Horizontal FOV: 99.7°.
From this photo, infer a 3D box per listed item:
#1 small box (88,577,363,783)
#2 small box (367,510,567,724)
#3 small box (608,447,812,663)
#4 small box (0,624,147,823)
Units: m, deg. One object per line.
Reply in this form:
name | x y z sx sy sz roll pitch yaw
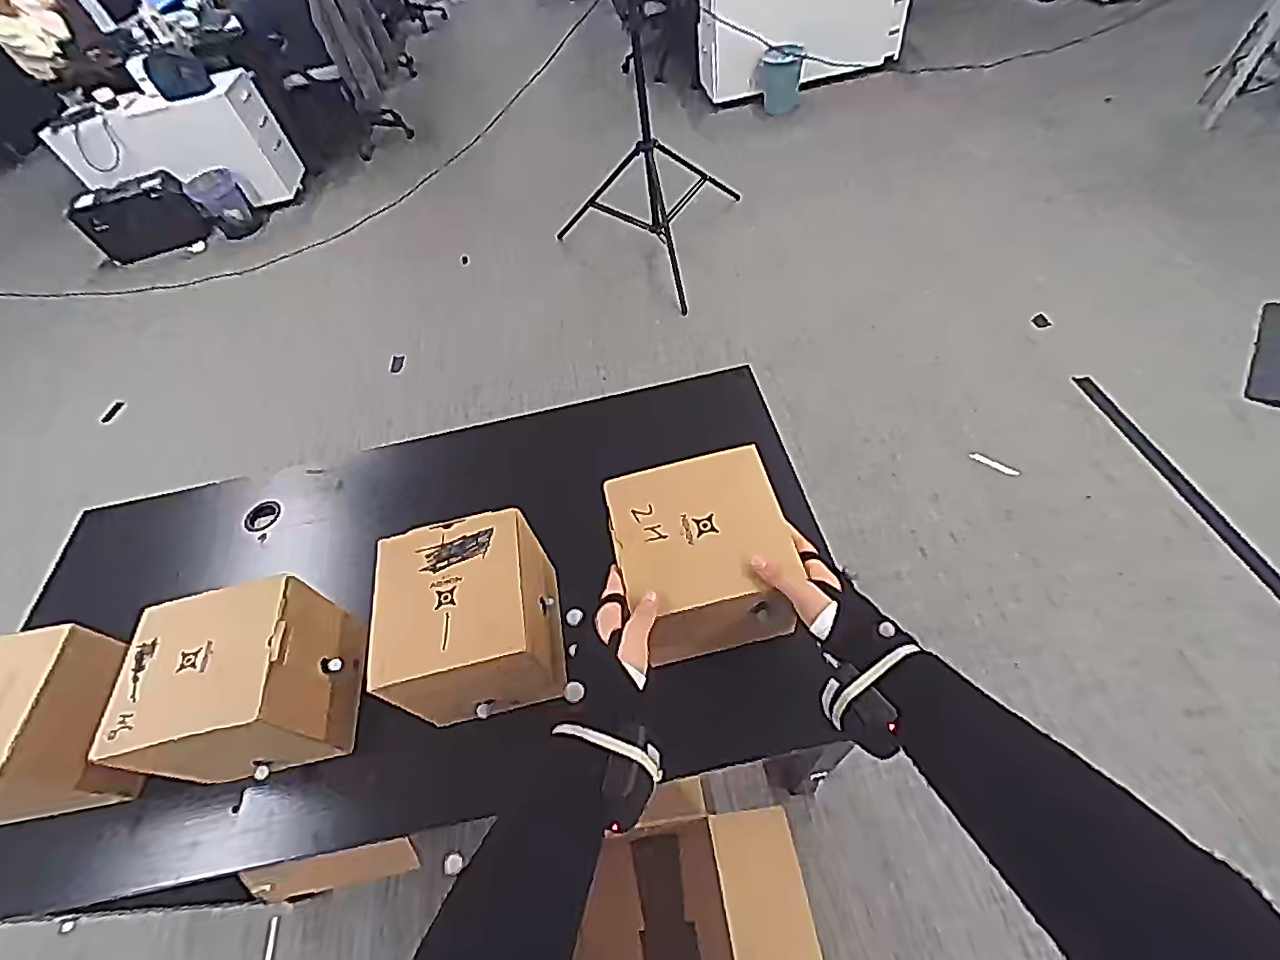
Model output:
small box | -0.453 0.238 0.632 0.179 0.176 0.168 -13 53 -1
small box | -0.191 0.165 0.639 0.168 0.176 0.179 -14 54 0
small box | 0.074 0.091 0.615 0.179 0.176 0.168 -15 55 1
small box | -0.711 0.292 0.637 0.179 0.176 0.168 -11 54 0
